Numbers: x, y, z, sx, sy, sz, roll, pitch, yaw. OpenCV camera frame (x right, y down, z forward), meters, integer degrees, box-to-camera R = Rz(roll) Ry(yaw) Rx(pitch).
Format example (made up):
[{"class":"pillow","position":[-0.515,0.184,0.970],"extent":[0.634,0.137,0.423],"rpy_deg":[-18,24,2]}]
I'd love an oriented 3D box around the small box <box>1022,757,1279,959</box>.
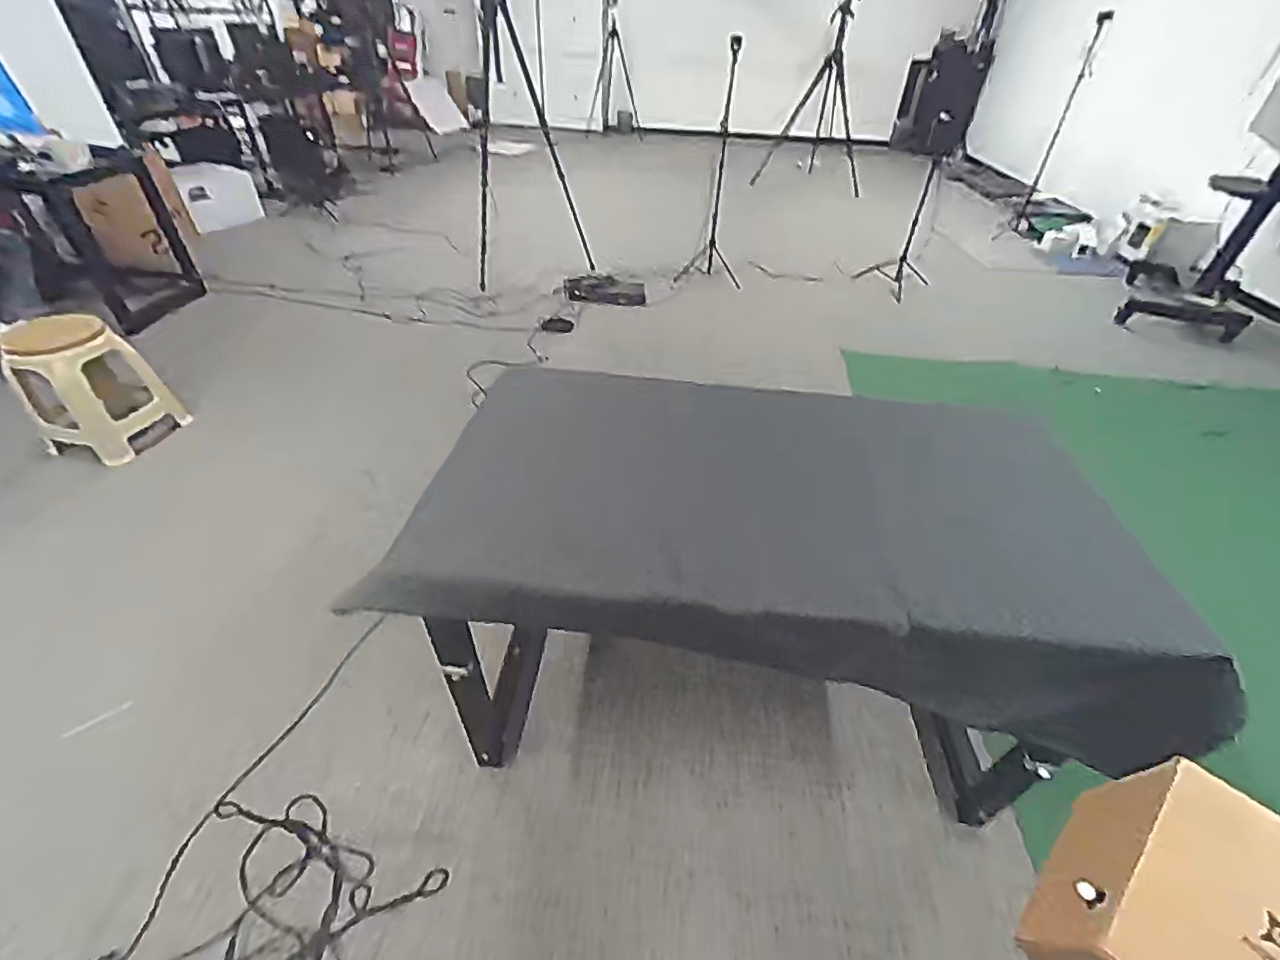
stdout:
[{"class":"small box","position":[0.452,0.365,0.434],"extent":[0.168,0.176,0.179],"rpy_deg":[34,66,30]}]
